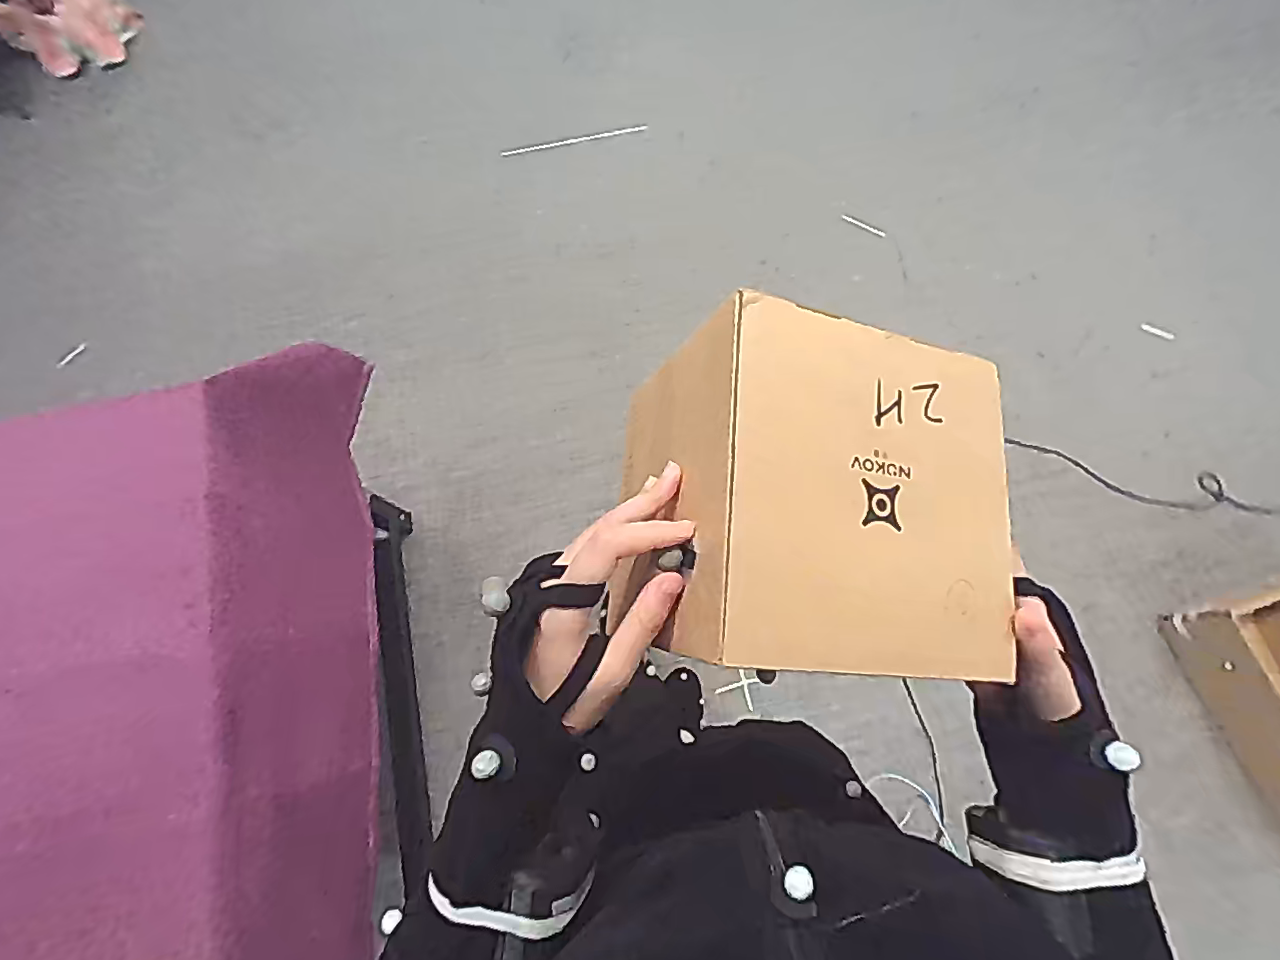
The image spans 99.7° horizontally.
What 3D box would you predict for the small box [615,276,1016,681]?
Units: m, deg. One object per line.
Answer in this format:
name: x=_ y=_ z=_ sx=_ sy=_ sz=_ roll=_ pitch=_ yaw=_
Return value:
small box: x=0.091 y=0.015 z=0.335 sx=0.168 sy=0.176 sz=0.179 roll=11 pitch=75 yaw=-19
